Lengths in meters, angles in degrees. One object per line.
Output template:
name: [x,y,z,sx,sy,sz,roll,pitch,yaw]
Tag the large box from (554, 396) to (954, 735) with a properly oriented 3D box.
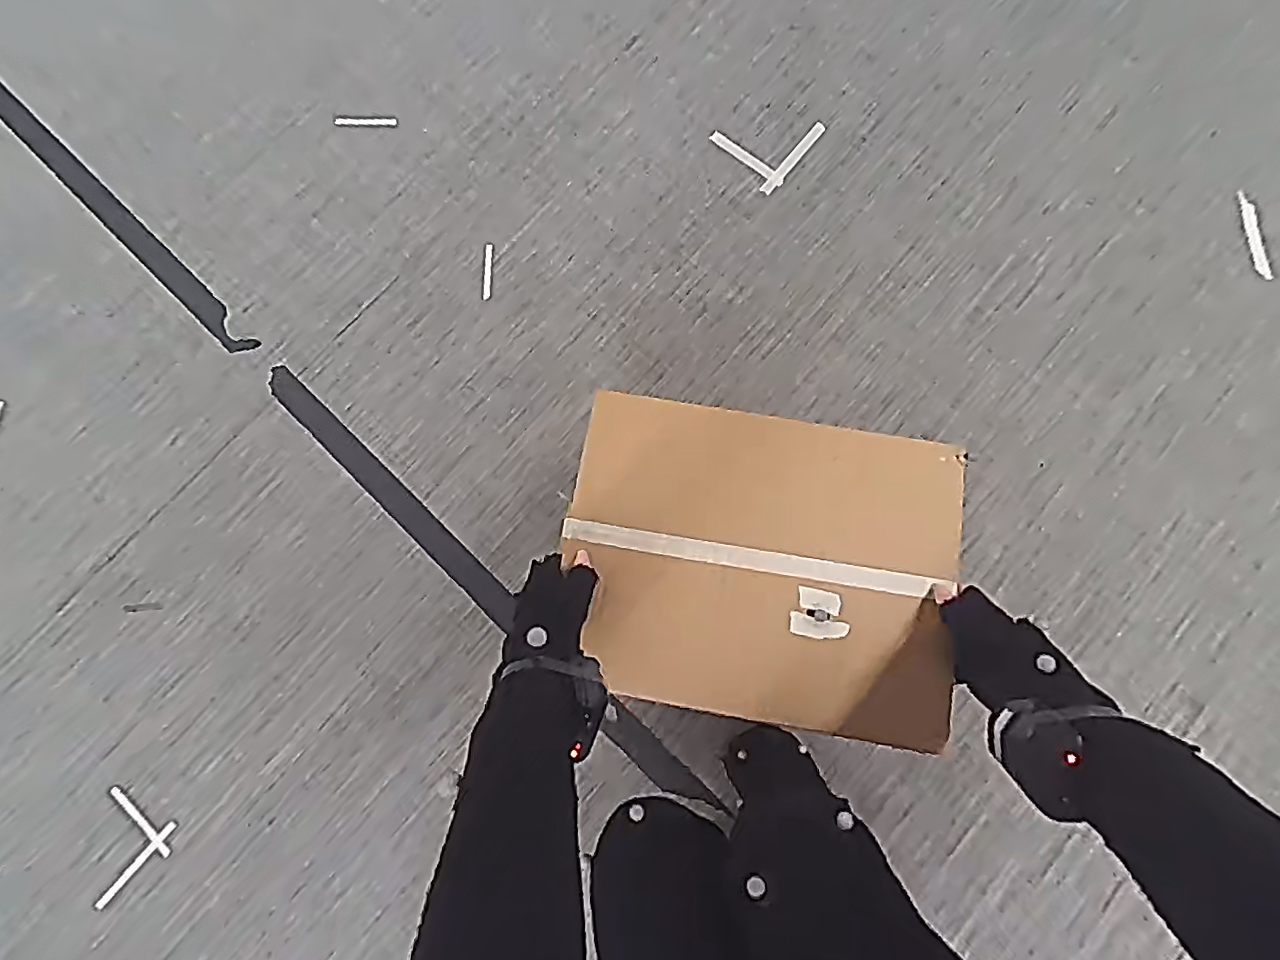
large box: [0.129,0.109,0.721,0.408,0.320,0.320,9,80,3]
